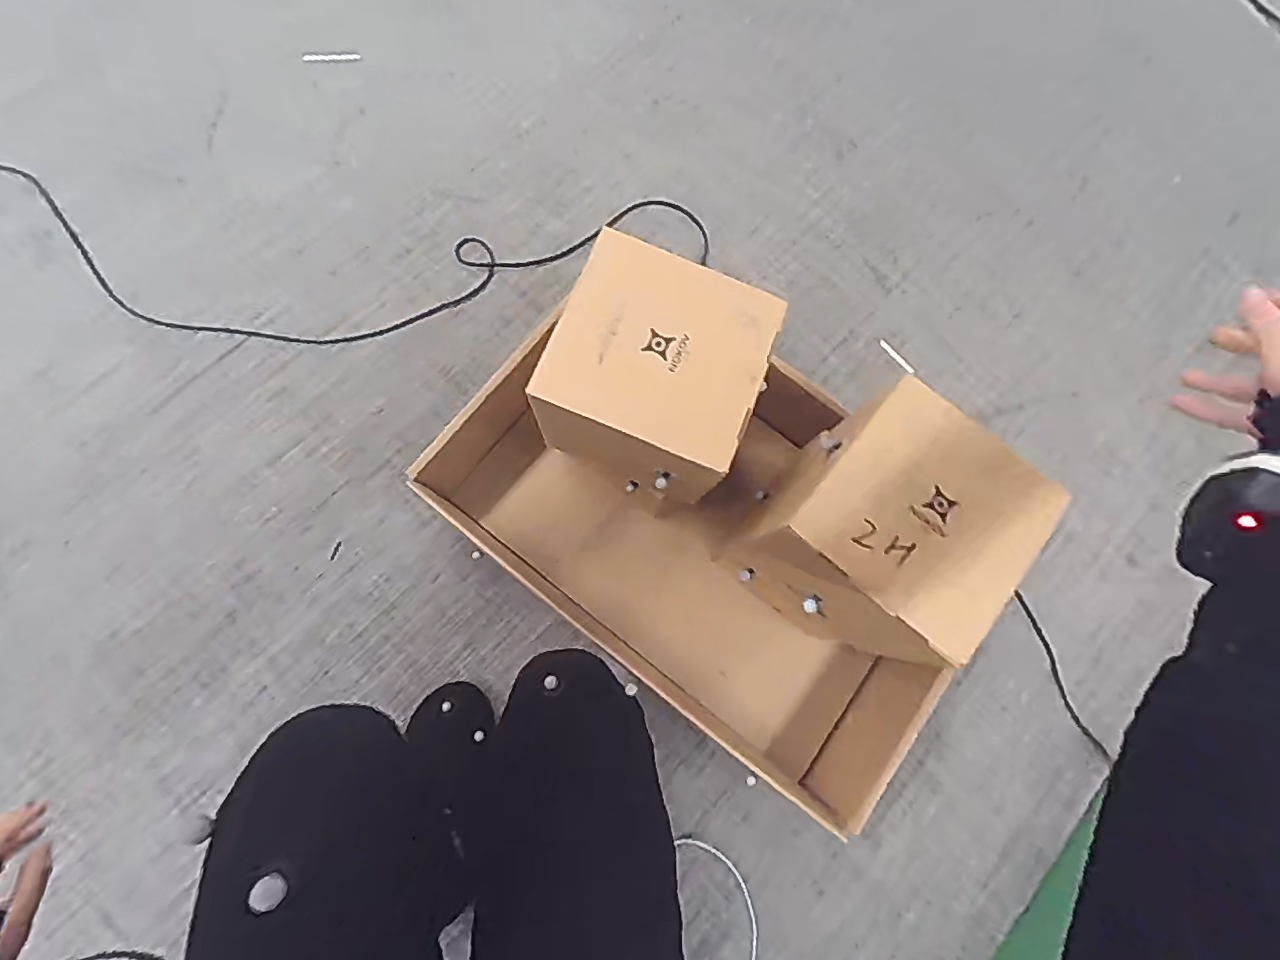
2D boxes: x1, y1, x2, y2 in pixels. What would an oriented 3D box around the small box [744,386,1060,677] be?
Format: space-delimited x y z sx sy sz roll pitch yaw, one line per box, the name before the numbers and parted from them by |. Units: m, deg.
small box | 0.220 0.051 0.505 0.168 0.176 0.179 40 78 6
